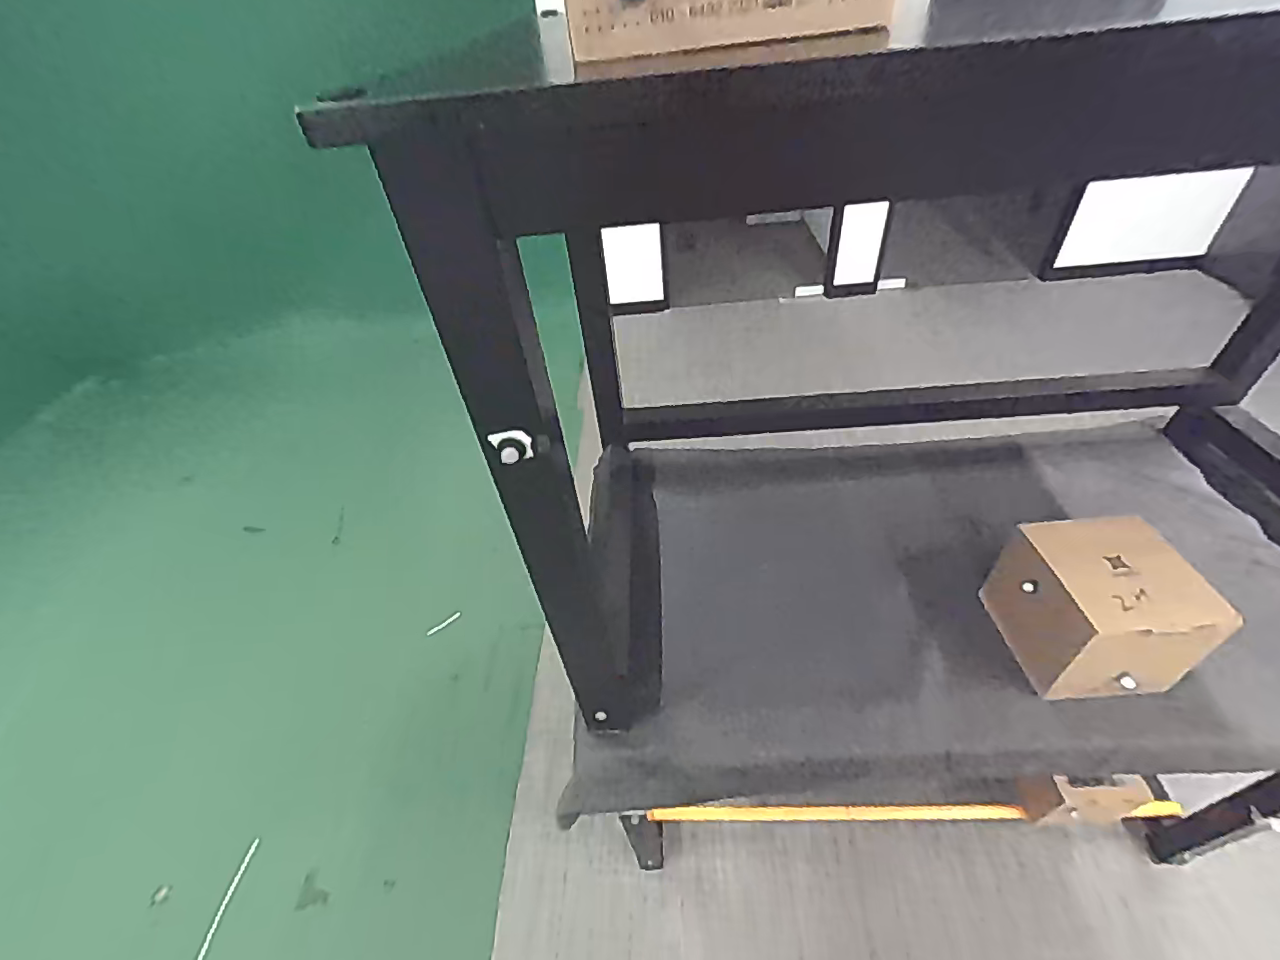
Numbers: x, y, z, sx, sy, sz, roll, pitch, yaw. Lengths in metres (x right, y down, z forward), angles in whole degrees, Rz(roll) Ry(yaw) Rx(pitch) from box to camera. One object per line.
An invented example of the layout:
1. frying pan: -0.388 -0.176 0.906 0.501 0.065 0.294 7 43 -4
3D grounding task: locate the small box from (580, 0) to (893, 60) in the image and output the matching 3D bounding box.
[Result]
1. small box: 0.042 -0.341 0.290 0.168 0.176 0.179 -6 42 0

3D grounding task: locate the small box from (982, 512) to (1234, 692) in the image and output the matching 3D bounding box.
1. small box: 0.614 0.168 0.745 0.168 0.176 0.179 -5 42 3
